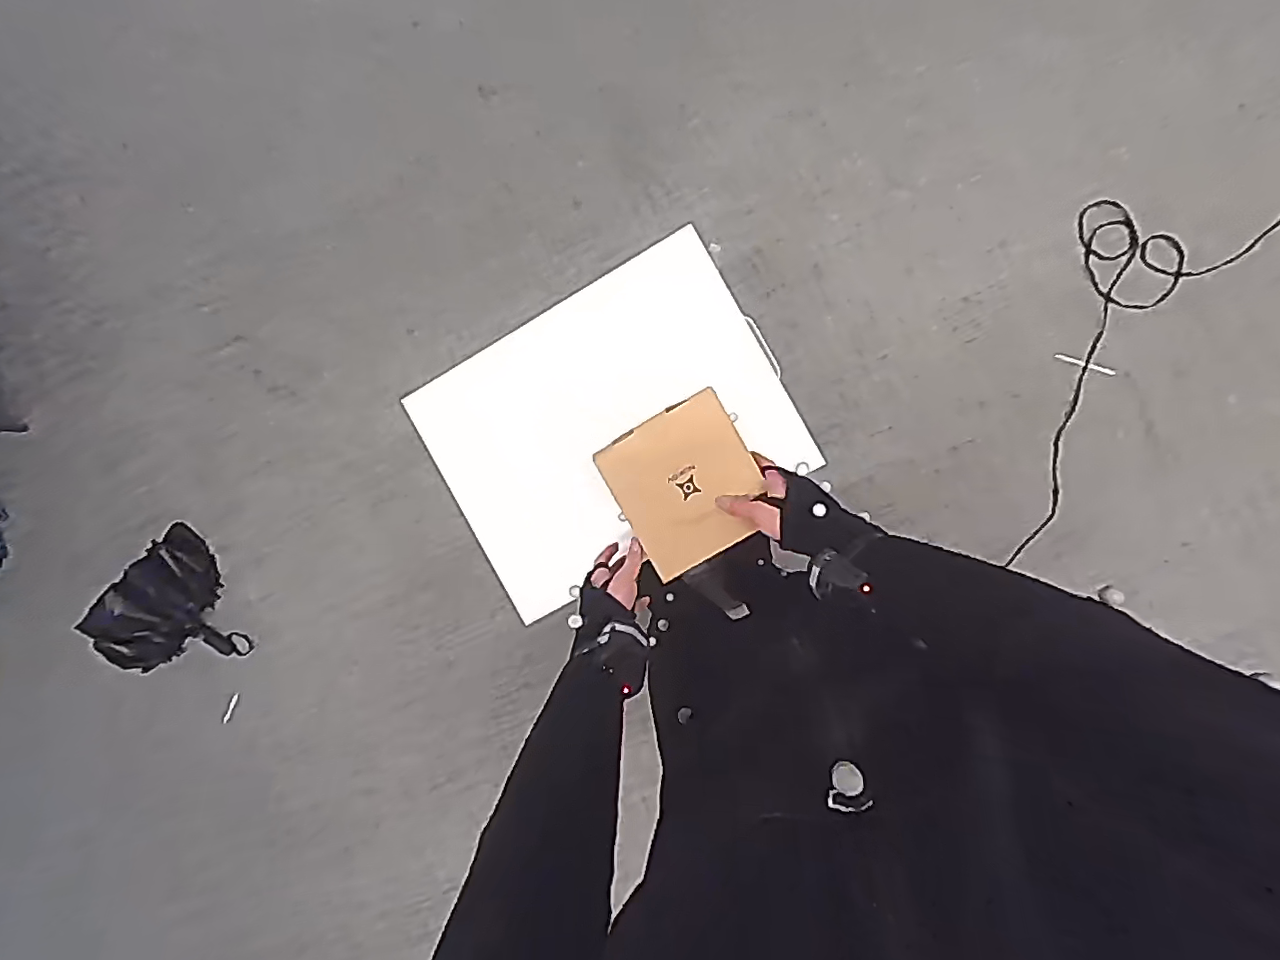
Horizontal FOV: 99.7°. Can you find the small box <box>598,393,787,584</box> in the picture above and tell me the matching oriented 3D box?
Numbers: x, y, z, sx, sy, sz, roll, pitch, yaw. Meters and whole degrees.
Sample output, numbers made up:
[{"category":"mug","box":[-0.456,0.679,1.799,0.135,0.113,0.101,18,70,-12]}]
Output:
[{"category":"small box","box":[0.067,0.010,0.713,0.168,0.176,0.179,-30,88,7]}]
